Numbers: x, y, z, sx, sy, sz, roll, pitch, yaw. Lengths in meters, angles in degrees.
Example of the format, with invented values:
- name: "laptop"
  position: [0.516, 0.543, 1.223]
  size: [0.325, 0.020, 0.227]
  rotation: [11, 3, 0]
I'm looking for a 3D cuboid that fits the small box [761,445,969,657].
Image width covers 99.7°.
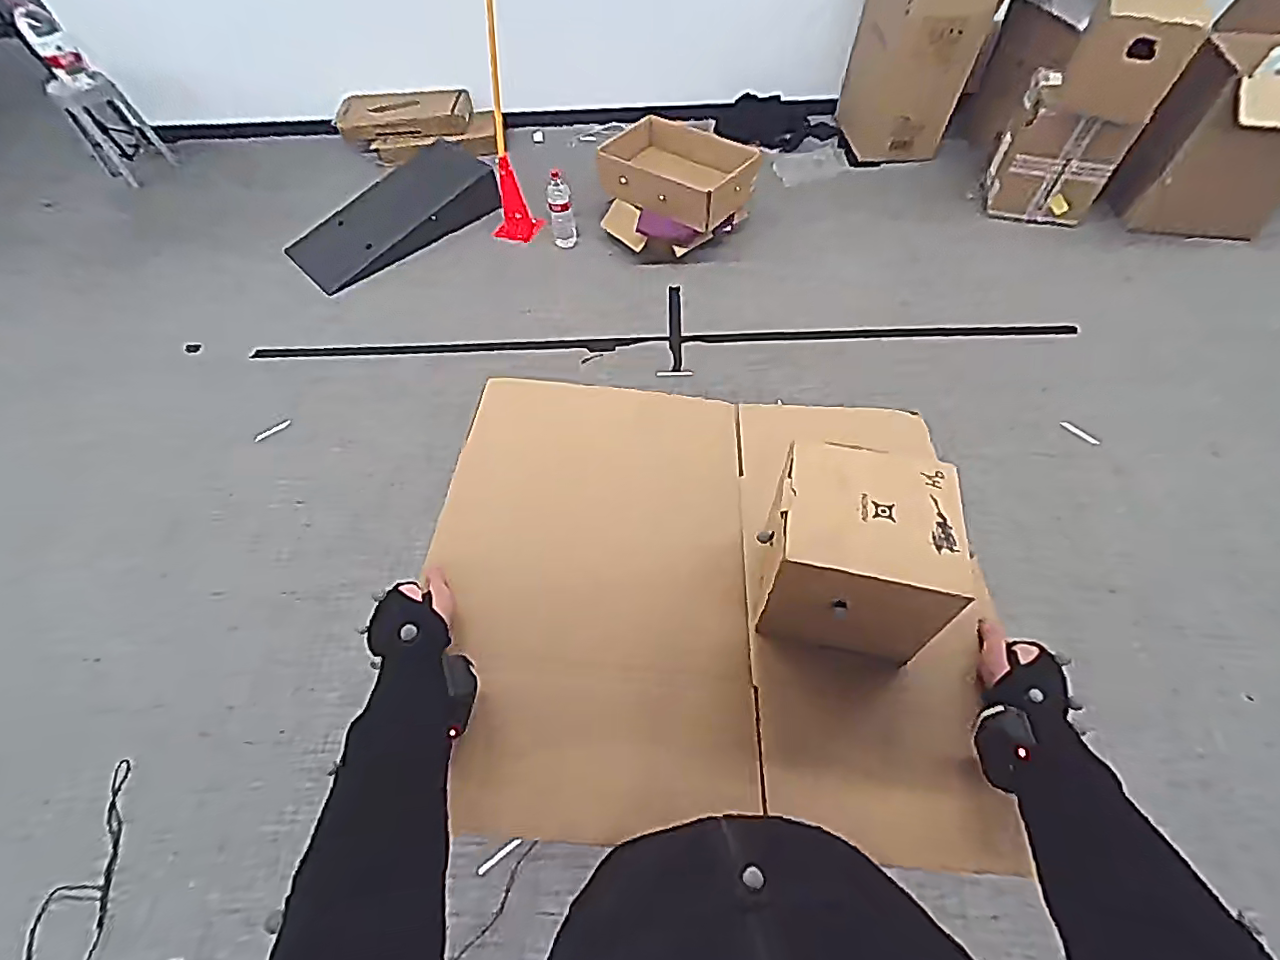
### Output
- name: "small box"
  position: [0.241, 0.085, 0.621]
  size: [0.179, 0.176, 0.168]
  rotation: [10, 53, 10]
